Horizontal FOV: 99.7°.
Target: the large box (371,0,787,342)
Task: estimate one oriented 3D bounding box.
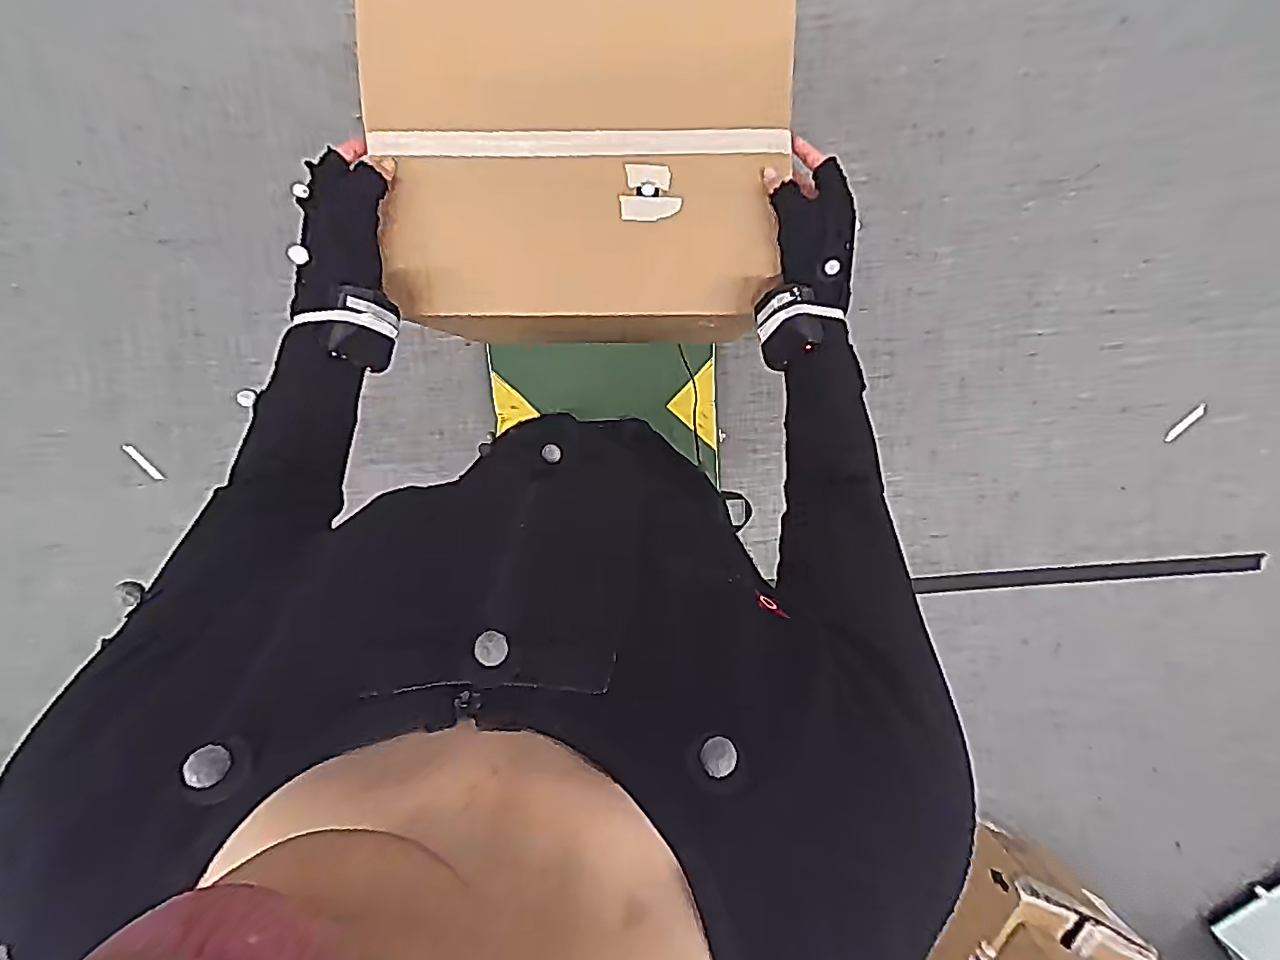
[{"bbox_3d":[-0.059,-0.351,0.680,0.408,0.320,0.320,-1,99,-1],"label":"large box"}]
